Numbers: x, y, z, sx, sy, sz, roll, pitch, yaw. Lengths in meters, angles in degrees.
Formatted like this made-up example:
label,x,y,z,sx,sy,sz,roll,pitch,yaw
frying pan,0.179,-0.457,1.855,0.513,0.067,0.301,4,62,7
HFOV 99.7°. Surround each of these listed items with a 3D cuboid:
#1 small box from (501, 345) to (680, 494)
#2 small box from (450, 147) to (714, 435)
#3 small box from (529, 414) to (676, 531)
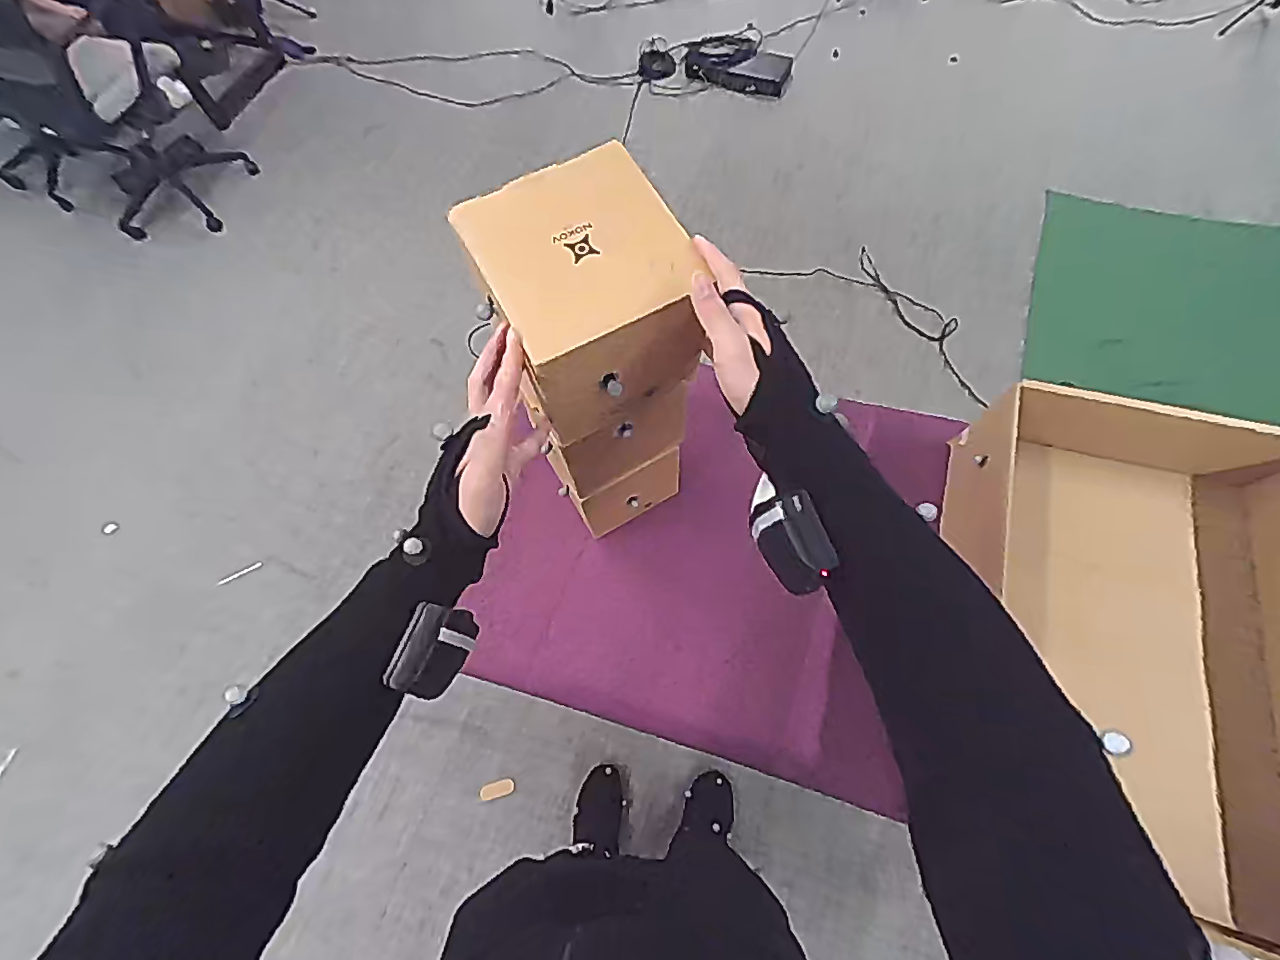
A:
label,x,y,z,sx,sy,sz,roll,pitch,yaw
small box,-0.055,-0.107,0.722,0.179,0.176,0.168,-29,68,-10
small box,-0.049,-0.163,0.521,0.168,0.176,0.179,-28,73,-10
small box,-0.053,-0.036,0.870,0.168,0.176,0.179,-29,67,-10
